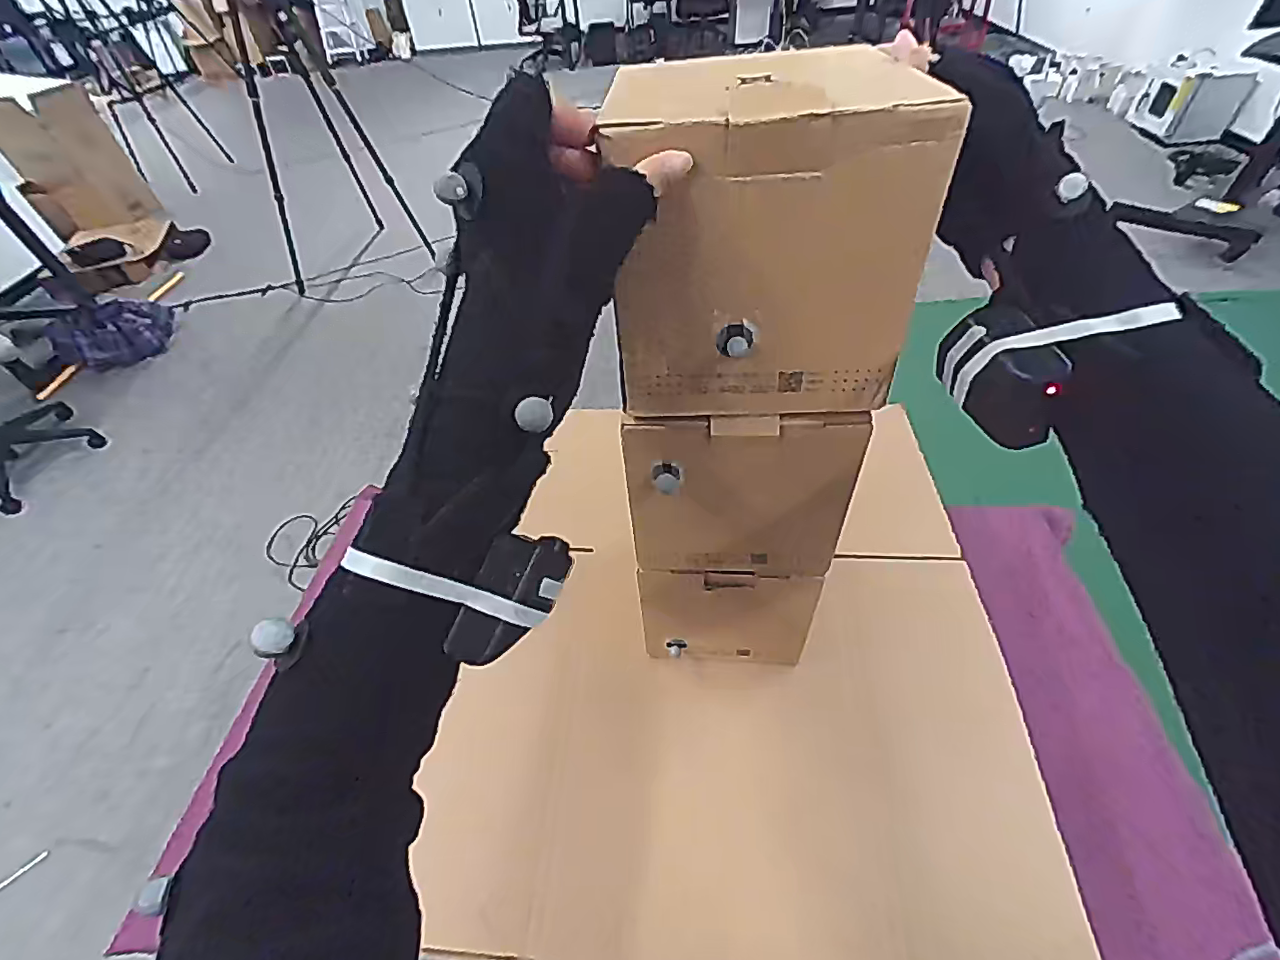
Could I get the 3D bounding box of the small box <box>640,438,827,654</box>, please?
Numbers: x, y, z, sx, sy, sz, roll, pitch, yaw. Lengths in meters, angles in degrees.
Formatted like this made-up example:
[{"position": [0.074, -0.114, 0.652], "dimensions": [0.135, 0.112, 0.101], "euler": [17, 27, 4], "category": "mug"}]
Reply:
[{"position": [0.091, 0.075, 0.584], "dimensions": [0.168, 0.176, 0.179], "euler": [-1, 48, 4], "category": "small box"}]
